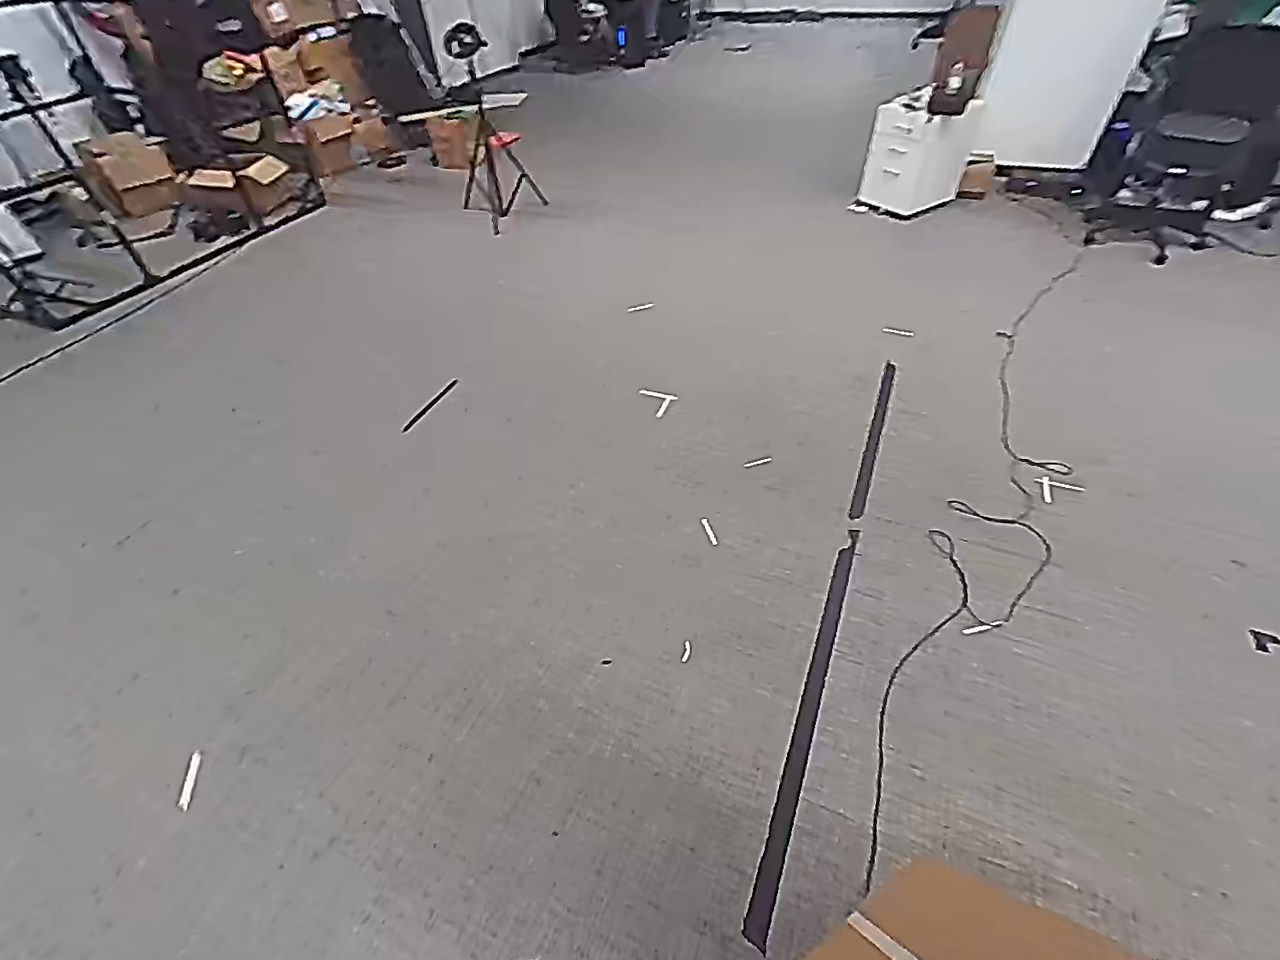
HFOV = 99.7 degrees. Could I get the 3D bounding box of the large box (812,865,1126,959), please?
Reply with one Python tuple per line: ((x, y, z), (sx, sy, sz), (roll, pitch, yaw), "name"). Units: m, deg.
((0.437, 0.743, 0.618), (0.320, 0.408, 0.320), (-28, 75, -16), "large box")
